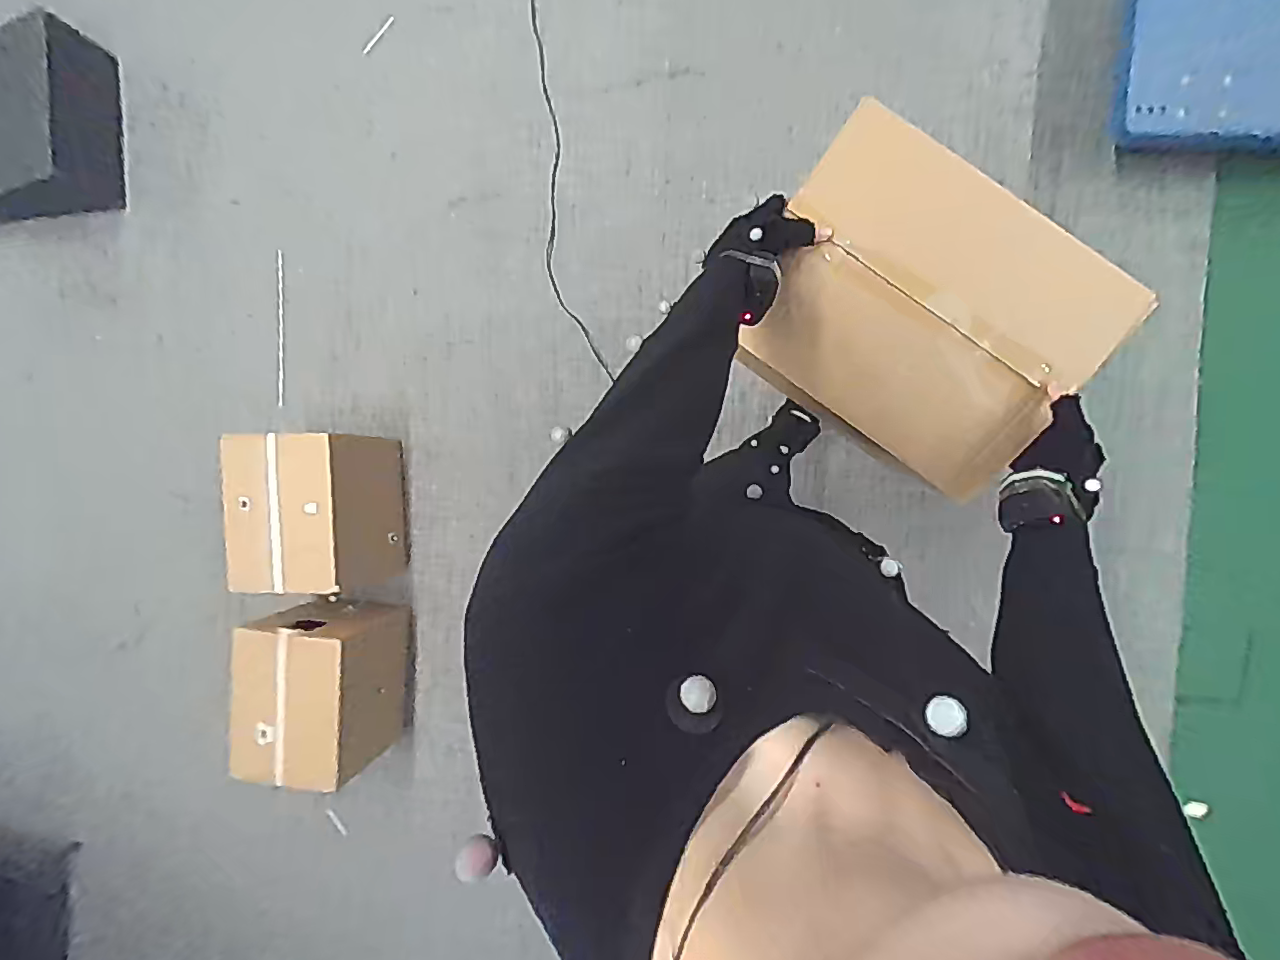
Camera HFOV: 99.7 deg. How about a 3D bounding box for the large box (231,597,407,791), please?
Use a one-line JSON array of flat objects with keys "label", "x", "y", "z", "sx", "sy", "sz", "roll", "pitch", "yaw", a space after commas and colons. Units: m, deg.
[{"label": "large box", "x": -0.881, "y": 0.571, "z": 1.519, "sx": 0.320, "sy": 0.320, "sz": 0.408, "roll": 4, "pitch": 94, "yaw": 9}]
